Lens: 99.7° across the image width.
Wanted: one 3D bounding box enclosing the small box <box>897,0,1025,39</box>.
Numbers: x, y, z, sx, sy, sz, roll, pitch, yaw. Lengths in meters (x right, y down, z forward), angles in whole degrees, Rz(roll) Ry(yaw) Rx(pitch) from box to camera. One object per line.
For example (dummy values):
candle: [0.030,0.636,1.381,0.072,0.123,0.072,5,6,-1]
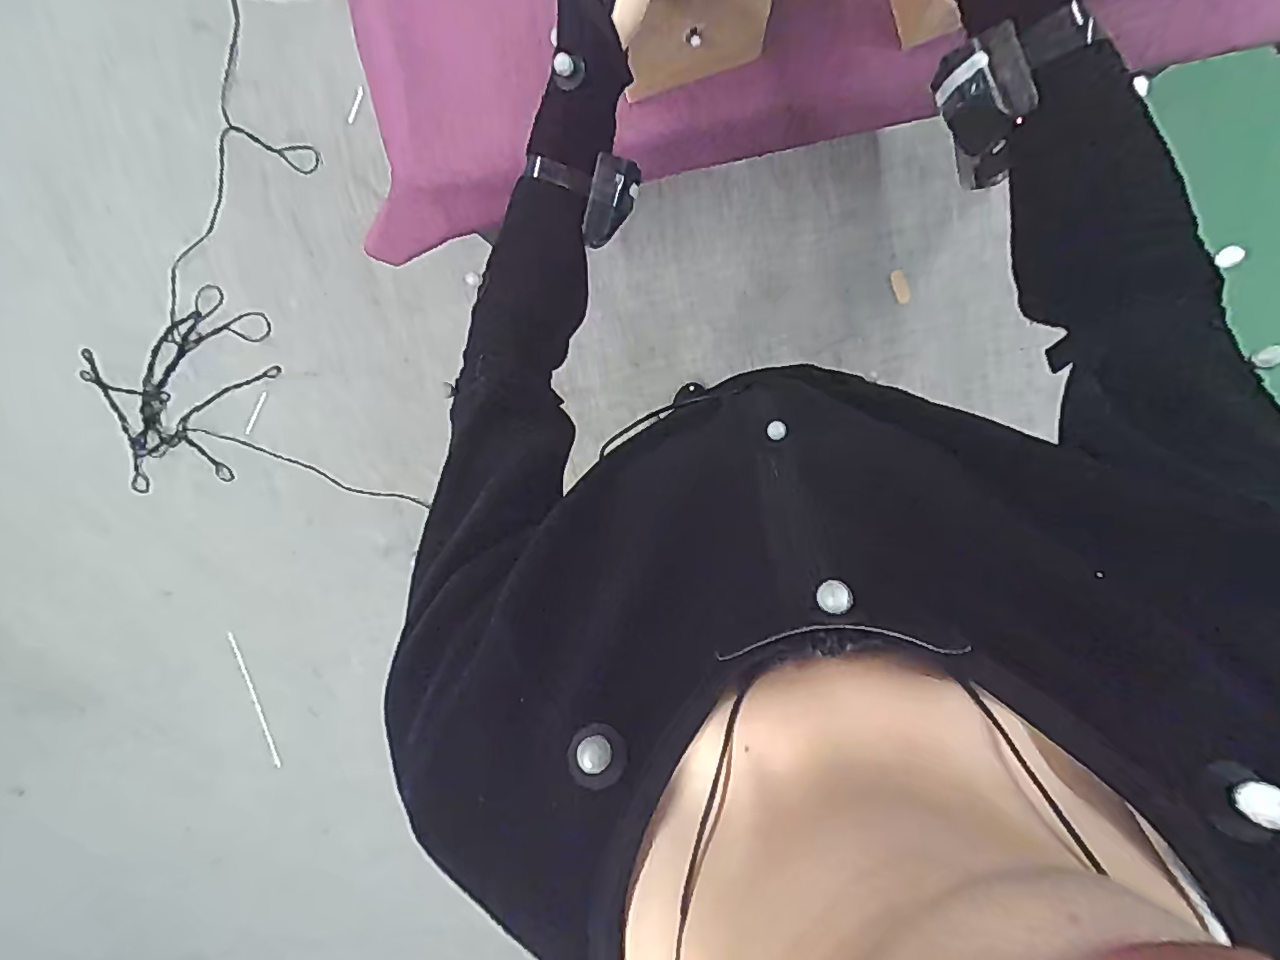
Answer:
small box: [0.373,-0.633,0.570,0.168,0.176,0.179,-17,96,8]
